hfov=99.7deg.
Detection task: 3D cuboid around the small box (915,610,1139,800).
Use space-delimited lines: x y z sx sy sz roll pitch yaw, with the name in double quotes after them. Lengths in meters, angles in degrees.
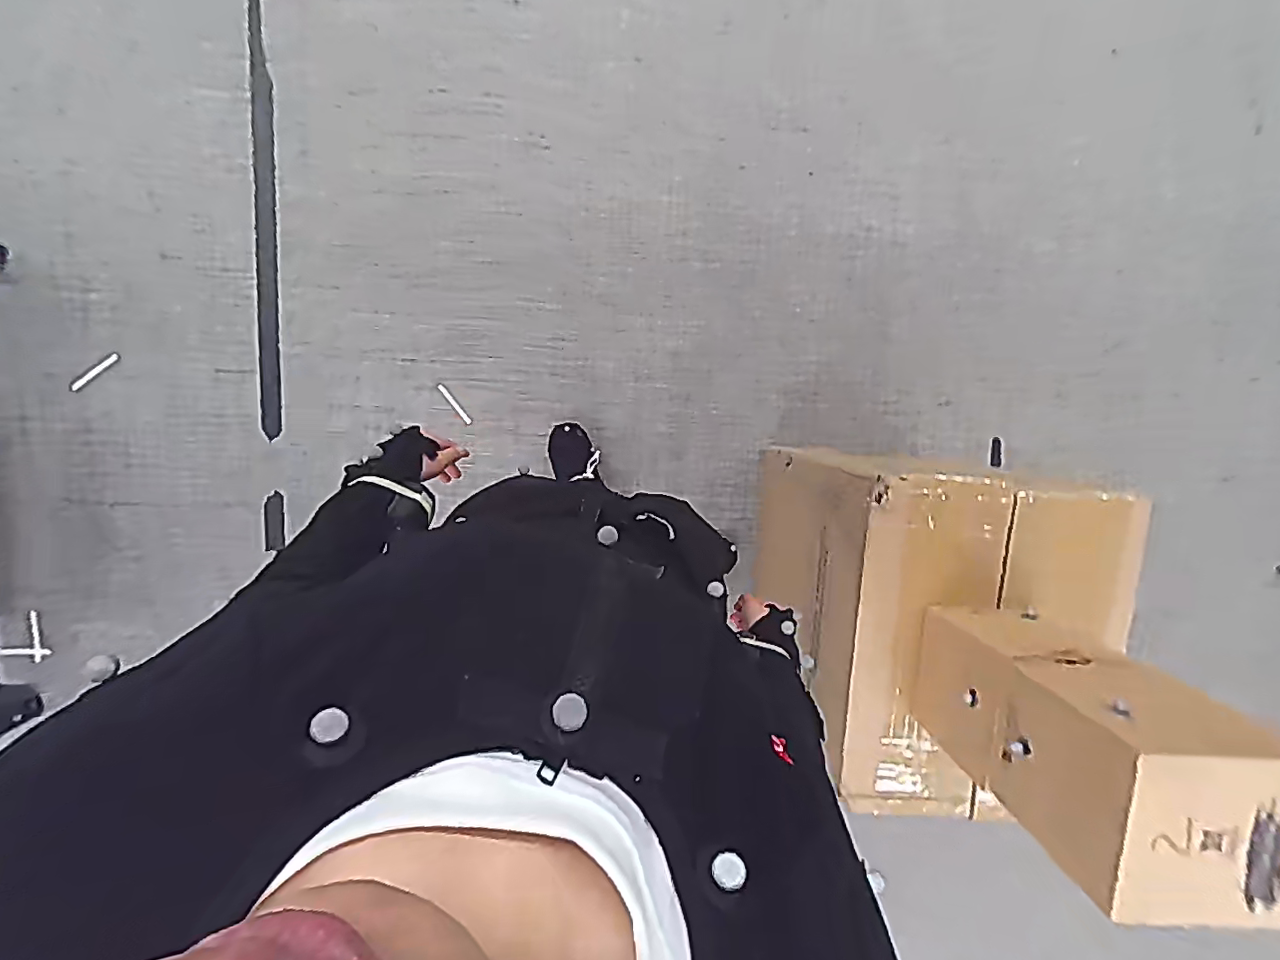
0.490 0.283 0.712 0.168 0.176 0.179 4 97 -1 "small box"
